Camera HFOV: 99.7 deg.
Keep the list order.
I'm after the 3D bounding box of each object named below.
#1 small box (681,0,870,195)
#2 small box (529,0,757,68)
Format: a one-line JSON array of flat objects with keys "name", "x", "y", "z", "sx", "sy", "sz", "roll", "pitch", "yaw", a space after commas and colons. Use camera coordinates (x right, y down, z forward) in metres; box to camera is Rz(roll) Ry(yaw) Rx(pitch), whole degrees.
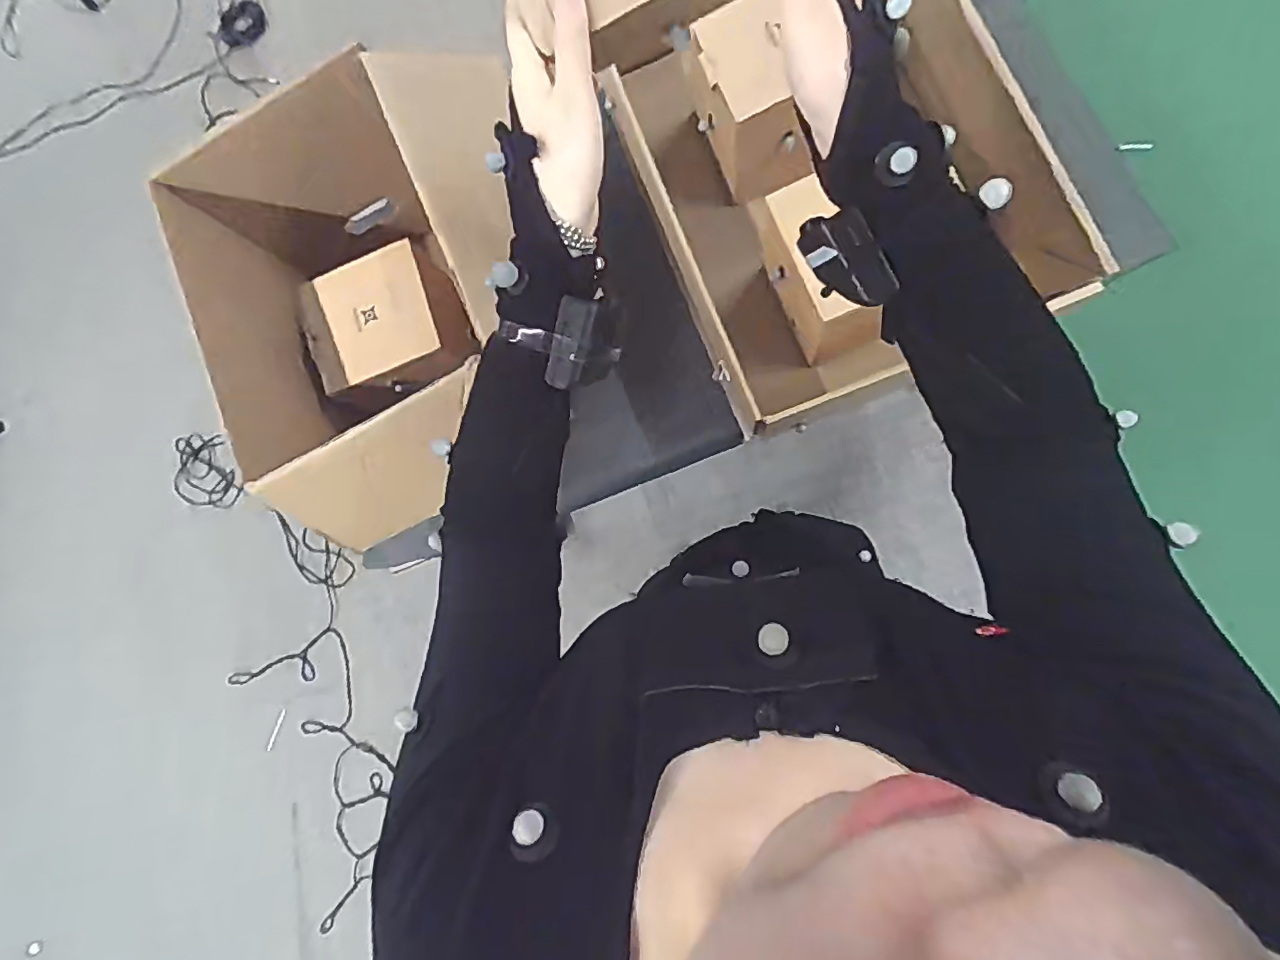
[{"name": "small box", "x": 0.166, "y": -0.513, "z": 0.702, "sx": 0.179, "sy": 0.176, "sz": 0.168, "roll": -22, "pitch": 84, "yaw": 8}, {"name": "small box", "x": 0.001, "y": -0.384, "z": 0.324, "sx": 0.168, "sy": 0.176, "sz": 0.179, "roll": -14, "pitch": 122, "yaw": 17}]
